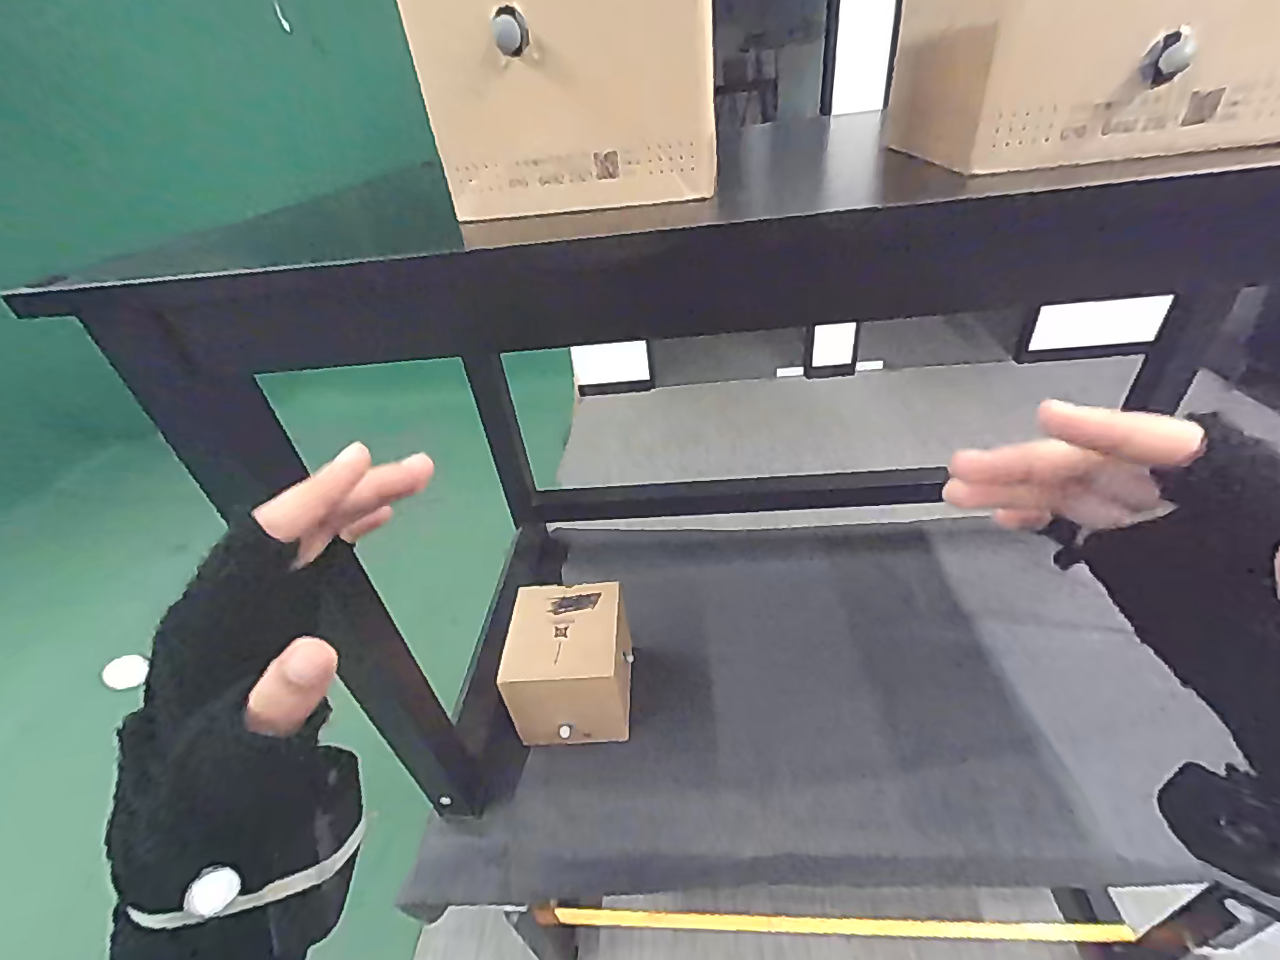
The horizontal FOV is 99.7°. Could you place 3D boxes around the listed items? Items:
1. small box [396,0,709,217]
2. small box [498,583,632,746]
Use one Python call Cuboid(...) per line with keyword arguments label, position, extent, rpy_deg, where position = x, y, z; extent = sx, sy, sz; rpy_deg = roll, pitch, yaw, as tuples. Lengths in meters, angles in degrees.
Cuboid(label="small box", position=(-0.040, -0.284, 0.366), extent=(0.168, 0.176, 0.179), rpy_deg=(-1, 35, 9))
Cuboid(label="small box", position=(-0.104, 0.285, 0.841), extent=(0.168, 0.176, 0.179), rpy_deg=(-5, 35, 4))
